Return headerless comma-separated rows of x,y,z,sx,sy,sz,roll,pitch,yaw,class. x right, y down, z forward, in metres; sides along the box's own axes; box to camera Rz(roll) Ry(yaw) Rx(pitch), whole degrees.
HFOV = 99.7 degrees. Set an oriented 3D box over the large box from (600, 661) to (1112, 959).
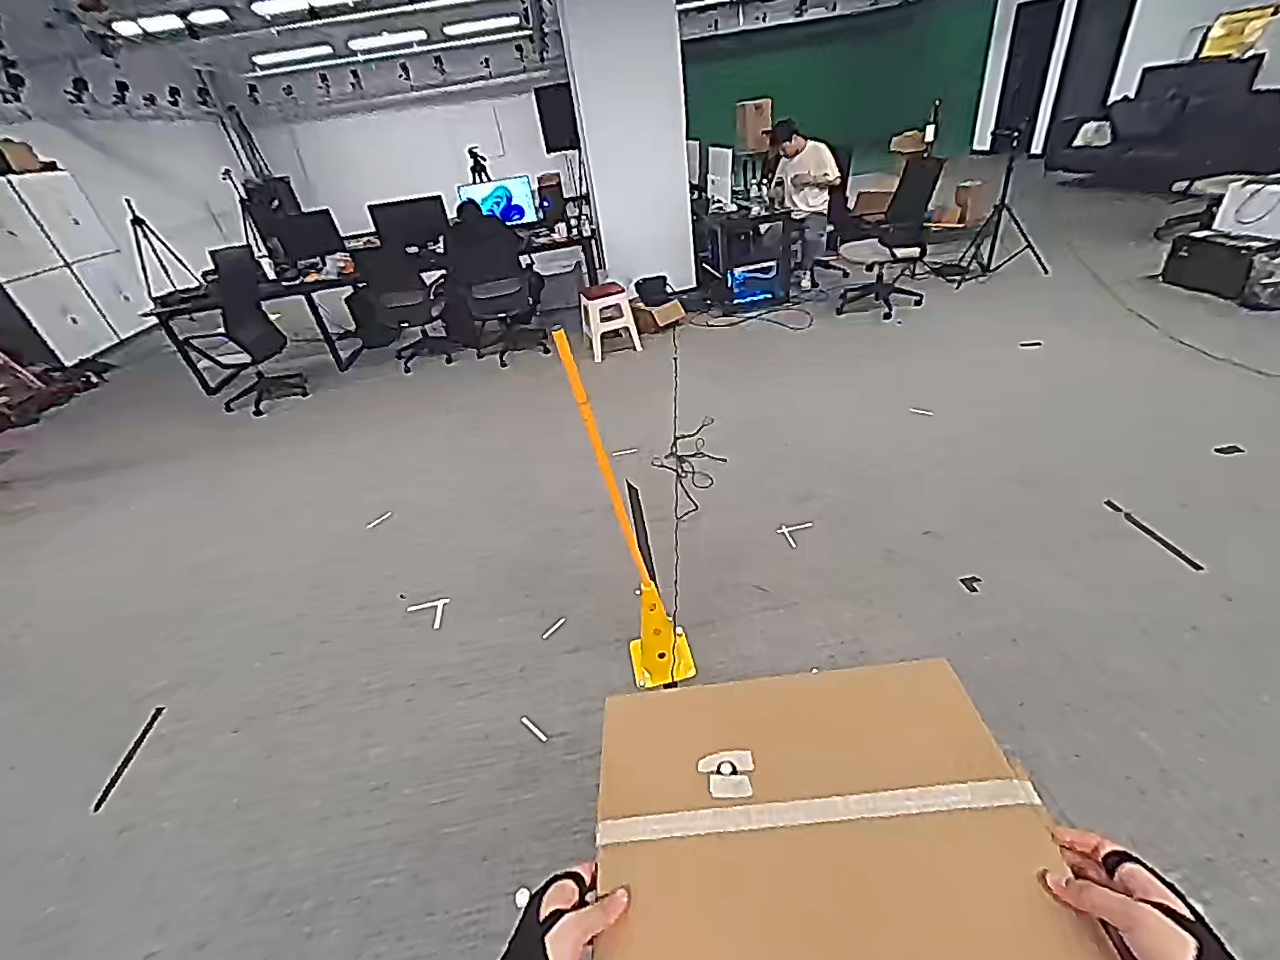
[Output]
0.191,0.450,0.603,0.408,0.320,0.320,-10,32,7,large box
